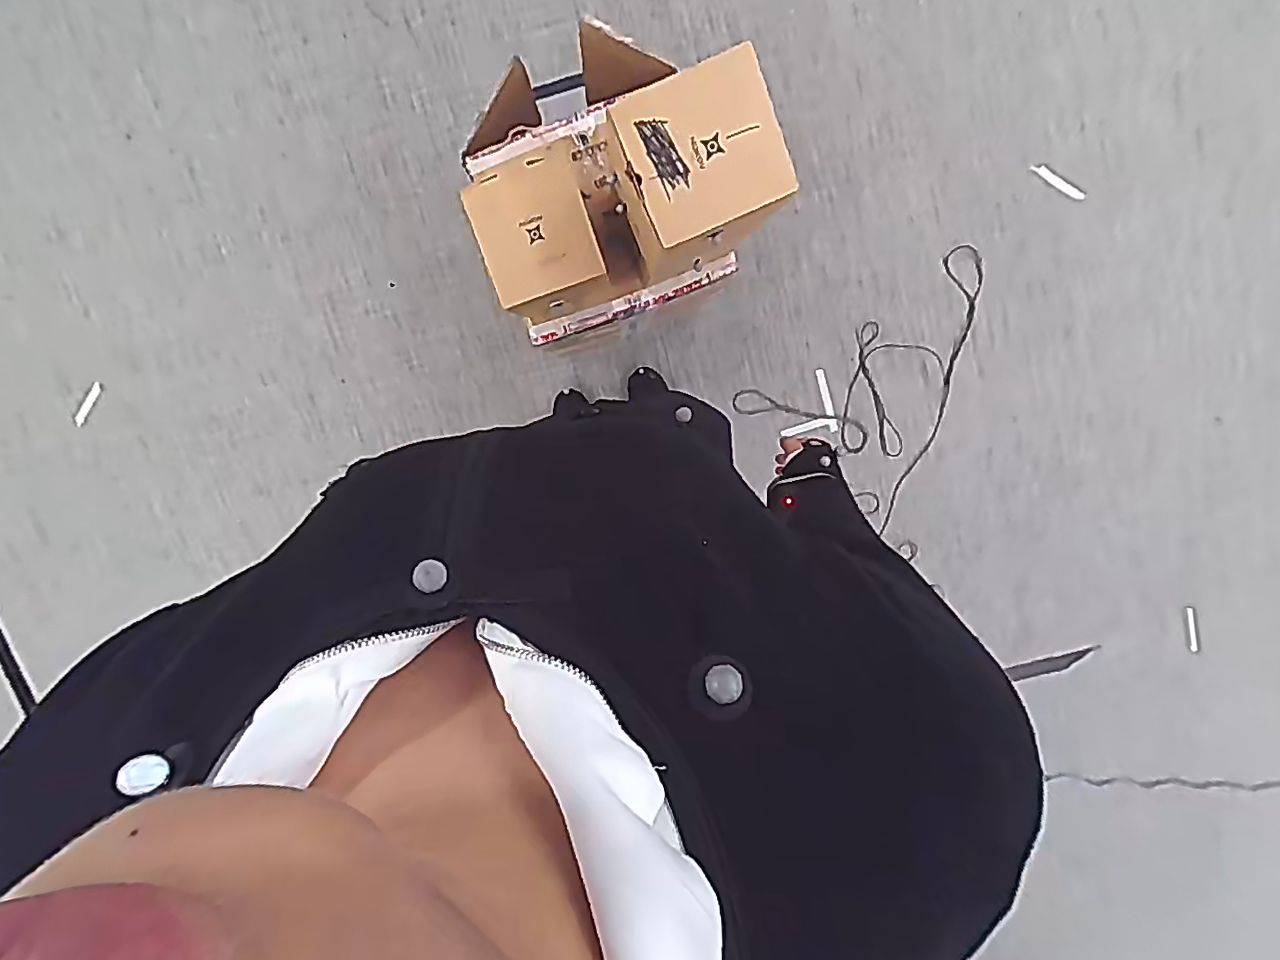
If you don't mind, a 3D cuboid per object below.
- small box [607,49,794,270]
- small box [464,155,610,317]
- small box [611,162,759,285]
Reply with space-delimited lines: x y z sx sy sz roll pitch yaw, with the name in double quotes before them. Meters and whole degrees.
"small box" 0.069 -0.392 0.701 0.179 0.176 0.168 -23 102 2
"small box" -0.153 -0.375 0.866 0.168 0.176 0.179 -19 103 4
"small box" 0.062 -0.431 0.862 0.179 0.176 0.168 -23 102 2
